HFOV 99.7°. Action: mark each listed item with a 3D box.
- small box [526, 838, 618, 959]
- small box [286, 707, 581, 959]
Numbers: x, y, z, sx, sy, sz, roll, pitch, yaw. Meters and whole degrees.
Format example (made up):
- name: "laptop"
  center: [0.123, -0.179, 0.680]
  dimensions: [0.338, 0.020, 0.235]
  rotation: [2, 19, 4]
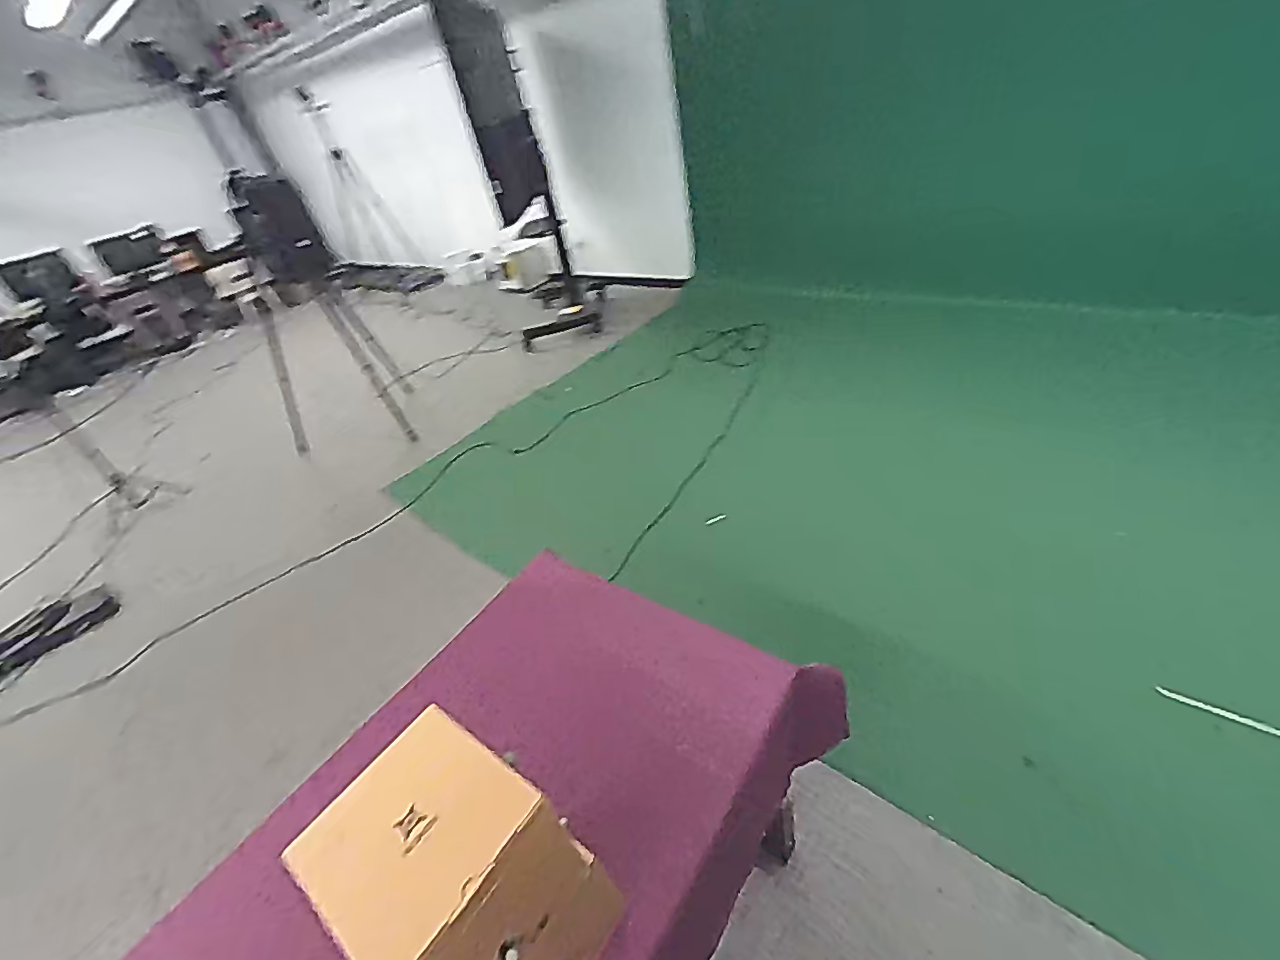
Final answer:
- name: "small box"
  center: [-0.146, 0.495, 0.615]
  dimensions: [0.168, 0.176, 0.179]
  rotation: [15, 46, 33]
- name: "small box"
  center: [-0.185, 0.366, 0.521]
  dimensions: [0.179, 0.176, 0.168]
  rotation: [16, 45, 34]
